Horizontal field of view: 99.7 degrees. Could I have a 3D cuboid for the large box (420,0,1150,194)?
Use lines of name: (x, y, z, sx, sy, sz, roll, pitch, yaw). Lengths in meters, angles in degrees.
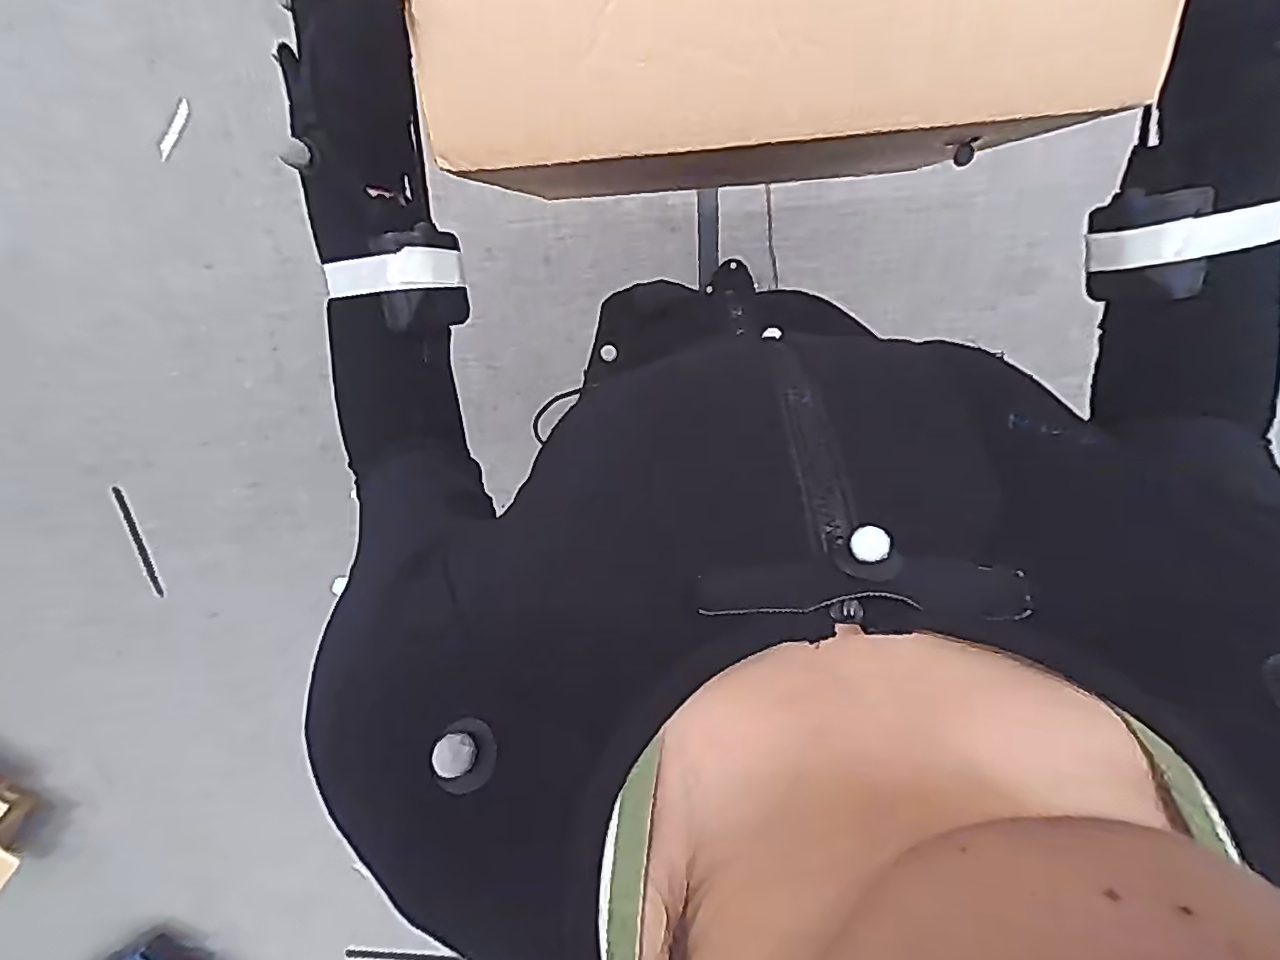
large box: (0.076, -0.406, 0.394, 0.408, 0.320, 0.320, -3, 114, 5)
